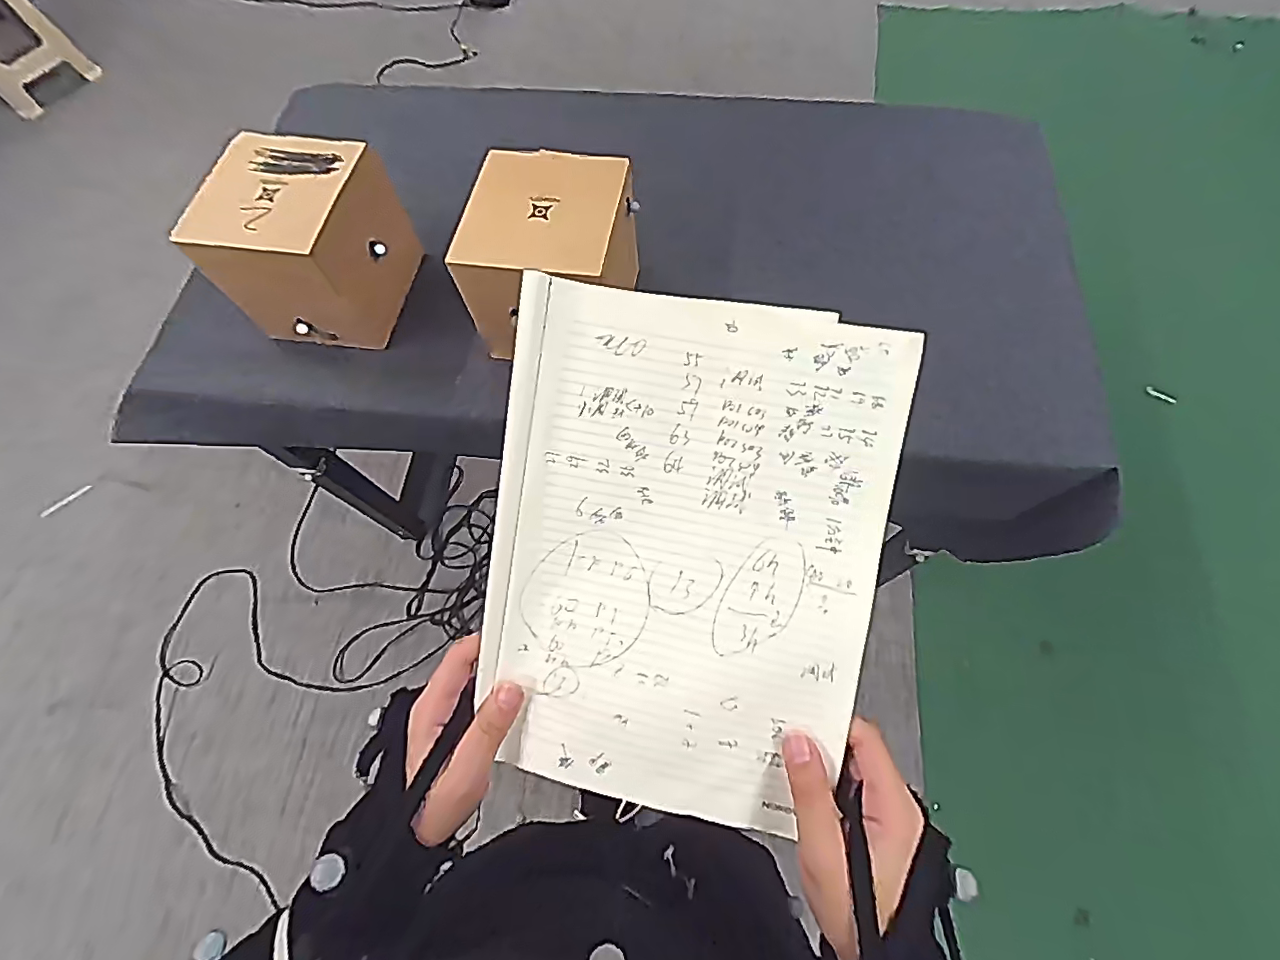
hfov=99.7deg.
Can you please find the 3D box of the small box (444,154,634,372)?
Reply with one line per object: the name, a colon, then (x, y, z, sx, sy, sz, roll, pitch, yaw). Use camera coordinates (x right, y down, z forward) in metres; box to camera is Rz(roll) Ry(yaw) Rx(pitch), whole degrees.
small box: (-0.102, -0.249, 0.642, 0.168, 0.176, 0.179, 7, 66, 6)
